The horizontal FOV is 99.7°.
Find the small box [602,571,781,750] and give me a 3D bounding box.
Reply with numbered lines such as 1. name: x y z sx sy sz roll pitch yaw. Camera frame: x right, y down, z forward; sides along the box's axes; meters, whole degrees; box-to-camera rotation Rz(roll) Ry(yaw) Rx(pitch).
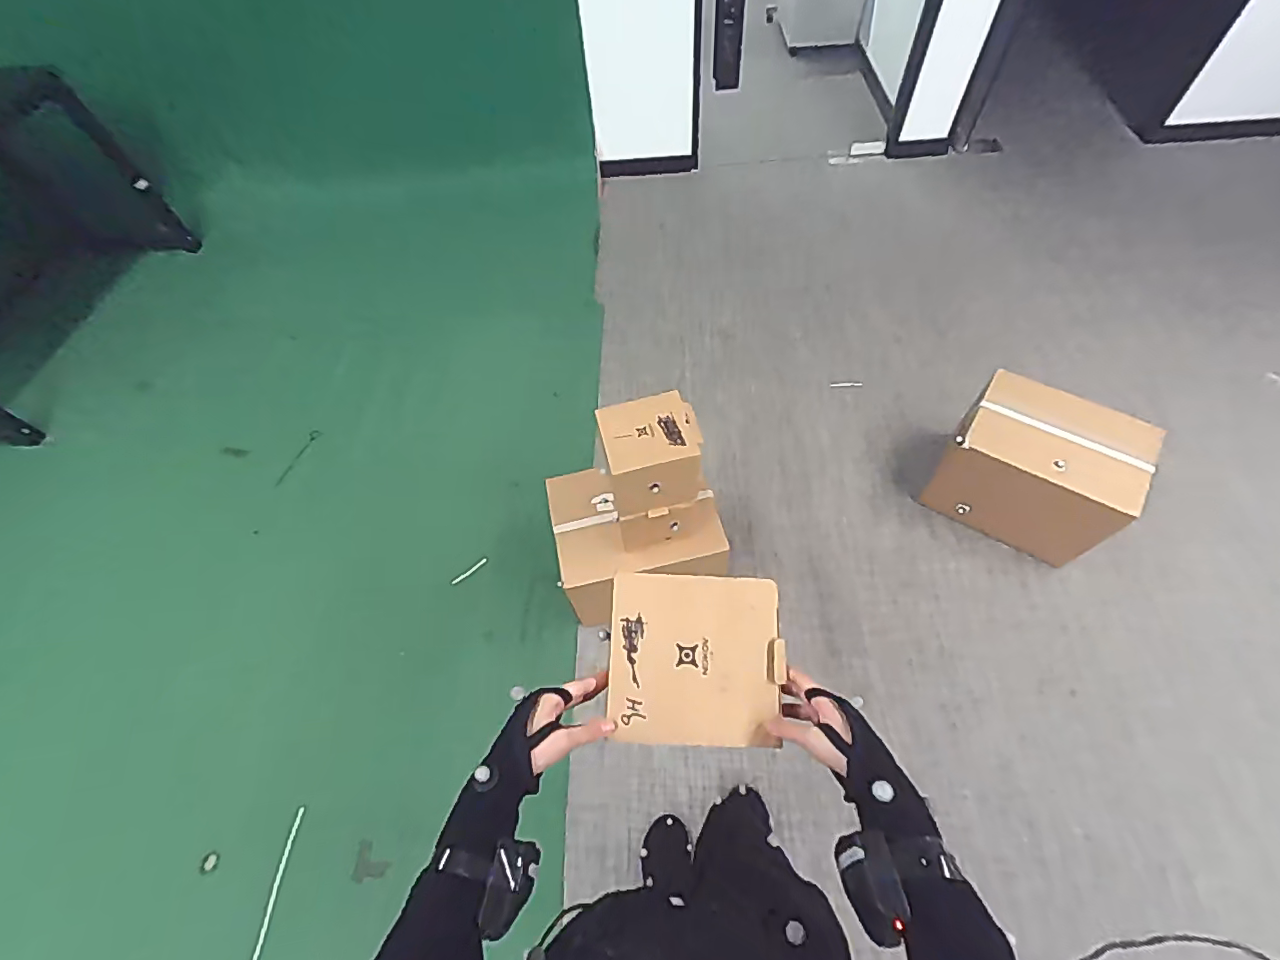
1. small box: 0.049 0.202 0.619 0.179 0.176 0.168 3 72 -2

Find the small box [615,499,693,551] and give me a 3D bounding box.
1. small box: 0.022 0.050 1.248 0.168 0.176 0.179 -12 58 -4

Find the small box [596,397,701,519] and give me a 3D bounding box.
1. small box: 0.015 -0.041 1.112 0.179 0.176 0.168 -13 58 -5

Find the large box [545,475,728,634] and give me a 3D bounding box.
1. large box: -0.007 0.181 1.458 0.408 0.320 0.320 -14 56 -3
